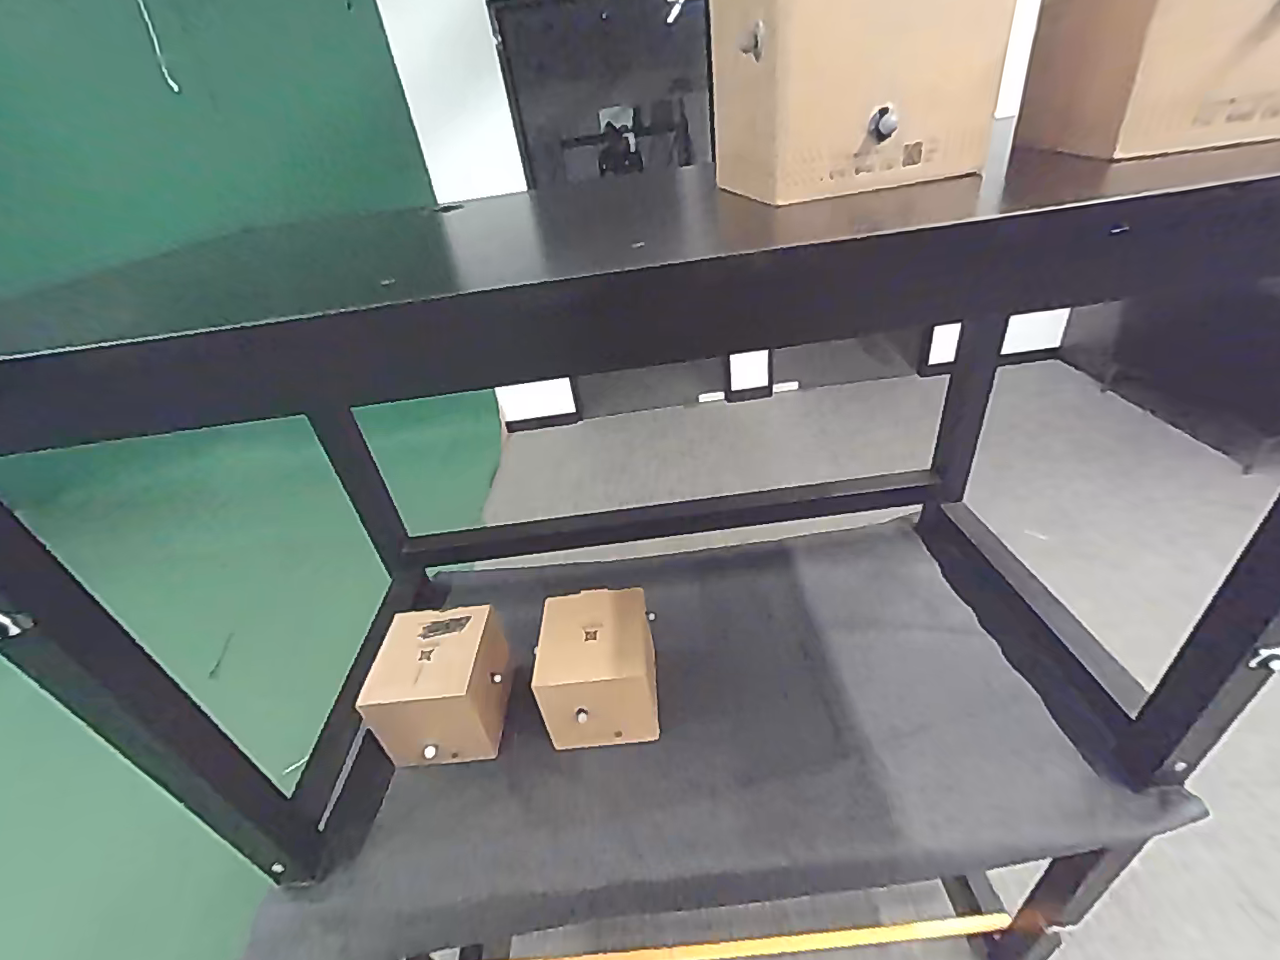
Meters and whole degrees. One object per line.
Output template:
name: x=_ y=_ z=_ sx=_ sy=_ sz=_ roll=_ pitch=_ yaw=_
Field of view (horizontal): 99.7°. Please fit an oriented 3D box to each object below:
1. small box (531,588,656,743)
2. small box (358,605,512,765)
small box: x=-0.067 y=0.303 z=0.874 sx=0.168 sy=0.176 sz=0.179 roll=-7 pitch=33 yaw=3
small box: x=-0.318 y=0.332 z=0.883 sx=0.168 sy=0.176 sz=0.179 roll=-7 pitch=34 yaw=3
